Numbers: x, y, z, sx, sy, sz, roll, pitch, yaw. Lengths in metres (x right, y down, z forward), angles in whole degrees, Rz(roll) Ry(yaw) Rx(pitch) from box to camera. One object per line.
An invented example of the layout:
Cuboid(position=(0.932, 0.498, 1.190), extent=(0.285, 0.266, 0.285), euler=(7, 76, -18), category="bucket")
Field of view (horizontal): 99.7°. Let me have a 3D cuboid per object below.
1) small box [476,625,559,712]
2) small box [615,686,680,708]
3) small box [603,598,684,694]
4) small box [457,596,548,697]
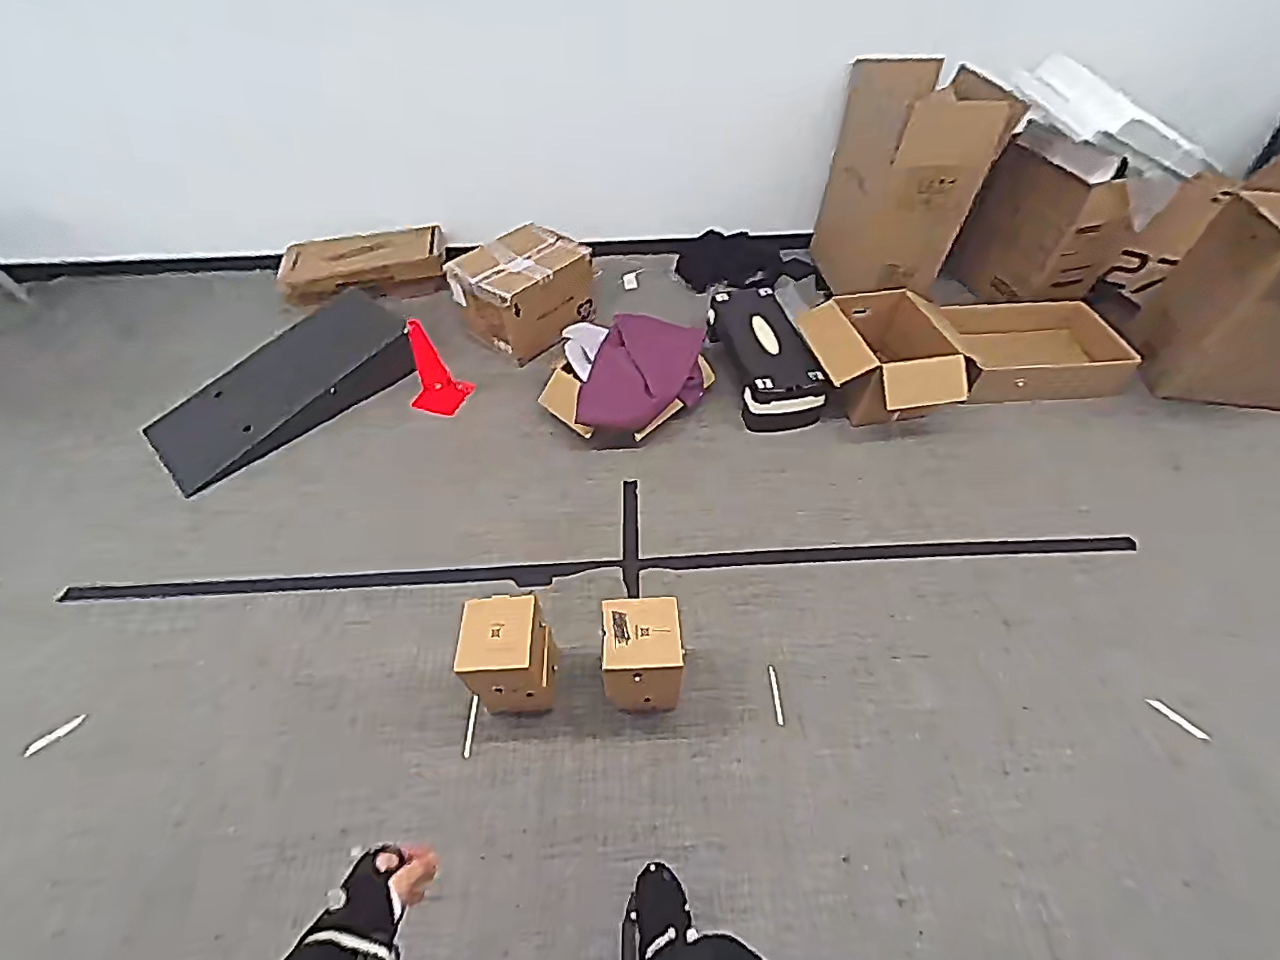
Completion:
Cuboid(position=(-0.308, 0.493, 1.406), extent=(0.179, 0.176, 0.168), euler=(-4, 51, -1), category="small box")
Cuboid(position=(0.019, 0.485, 1.407), extent=(0.168, 0.176, 0.179), euler=(-1, 52, 0), category="small box")
Cuboid(position=(0.007, 0.393, 1.268), extent=(0.179, 0.176, 0.168), euler=(-2, 51, -1), category="small box")
Cuboid(position=(-0.315, 0.394, 1.276), extent=(0.168, 0.176, 0.179), euler=(-4, 52, 0), category="small box")
